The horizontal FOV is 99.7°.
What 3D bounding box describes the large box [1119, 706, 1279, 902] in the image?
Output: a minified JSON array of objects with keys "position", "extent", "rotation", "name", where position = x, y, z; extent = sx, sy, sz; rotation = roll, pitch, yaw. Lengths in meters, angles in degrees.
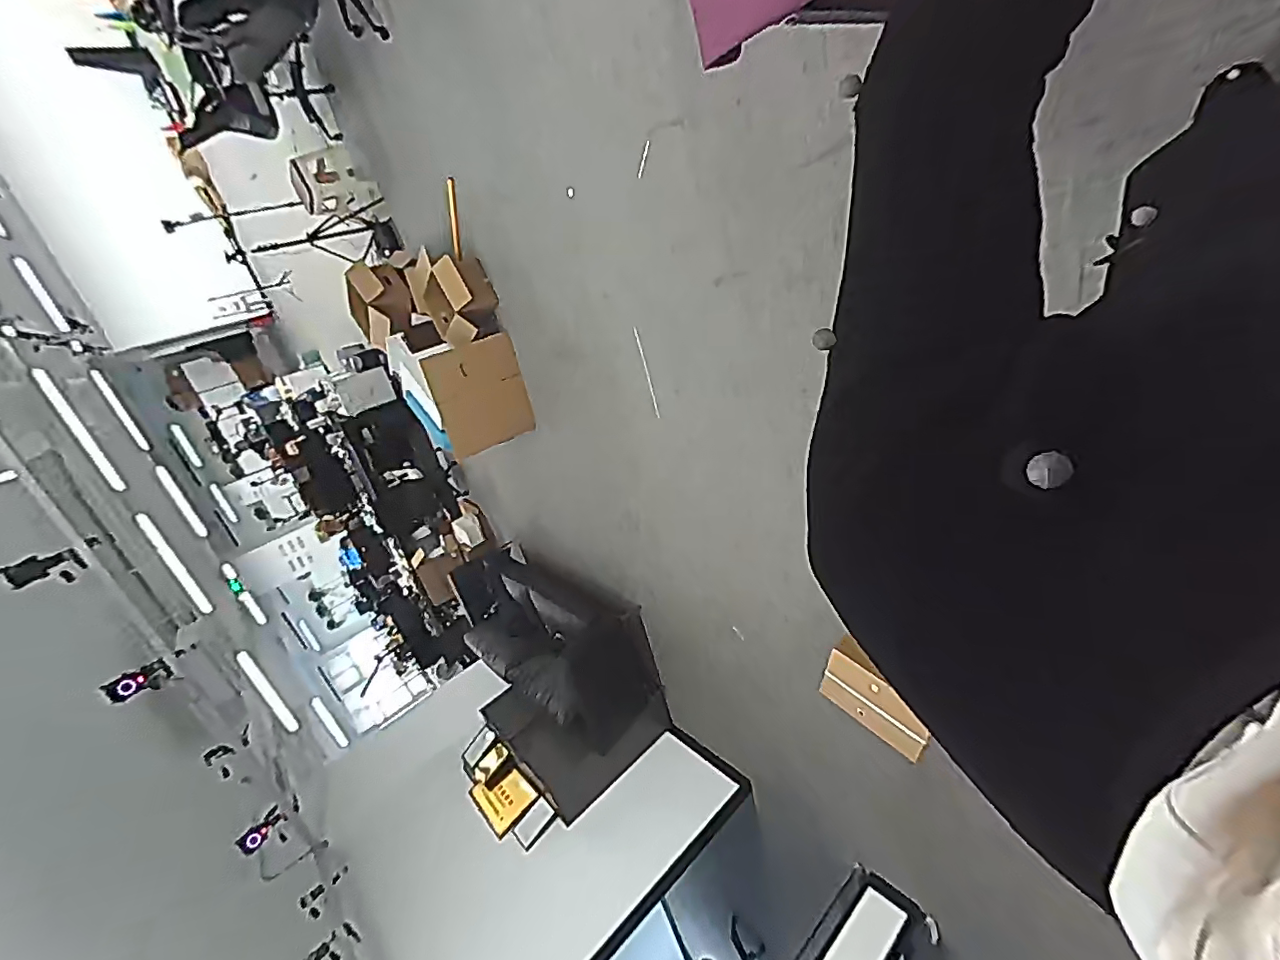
[{"position":[1.531,0.784,1.327],"extent":[0.320,0.320,0.408],"rotation":[56,147,5],"name":"large box"}]
